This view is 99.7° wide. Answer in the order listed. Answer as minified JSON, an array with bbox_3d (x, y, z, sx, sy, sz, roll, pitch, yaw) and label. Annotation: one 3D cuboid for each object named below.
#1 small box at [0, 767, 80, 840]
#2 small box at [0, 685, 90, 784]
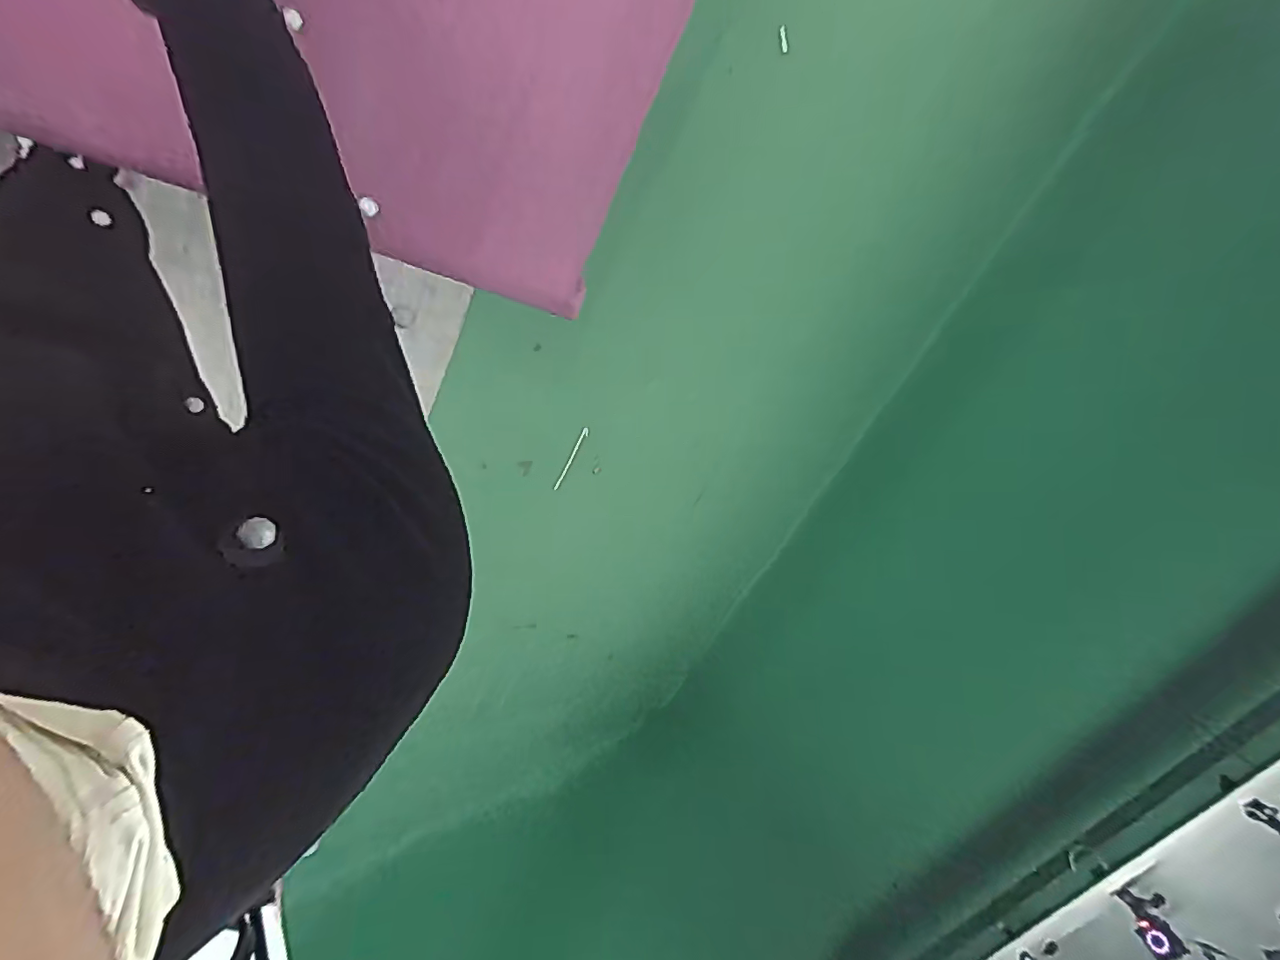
[{"bbox_3d":[-1.846,0.950,1.657,0.168,0.176,0.179,7,122,-47],"label":"small box"},{"bbox_3d":[-1.714,0.726,1.560,0.168,0.176,0.179,6,122,-48],"label":"small box"}]
